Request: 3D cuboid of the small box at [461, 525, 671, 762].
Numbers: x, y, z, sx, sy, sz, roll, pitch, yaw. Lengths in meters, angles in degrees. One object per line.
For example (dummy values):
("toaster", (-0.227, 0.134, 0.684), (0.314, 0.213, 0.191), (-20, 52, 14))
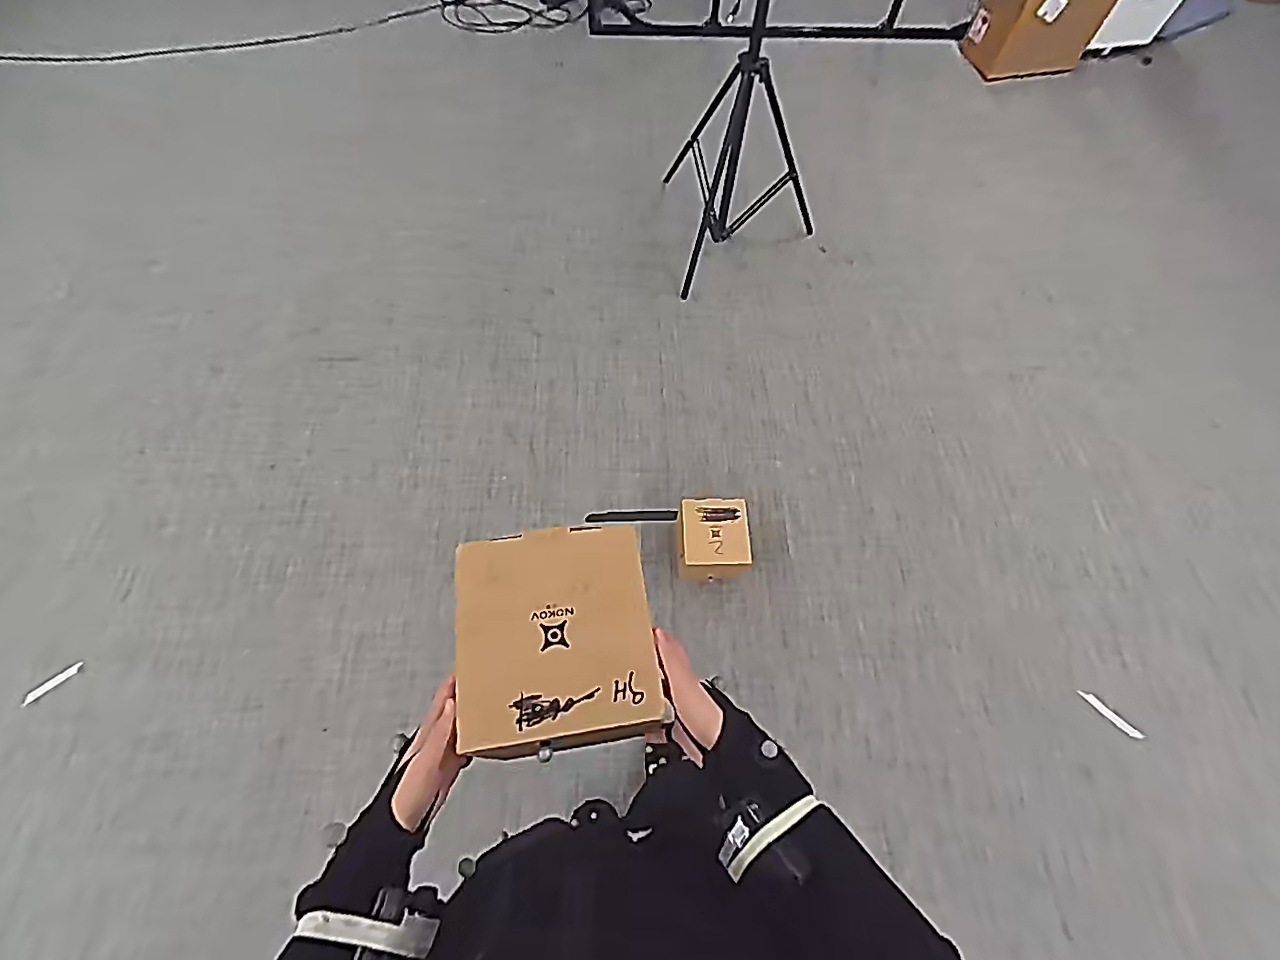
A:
("small box", (-0.072, 0.164, 0.528), (0.168, 0.176, 0.179), (-7, 61, -7))
